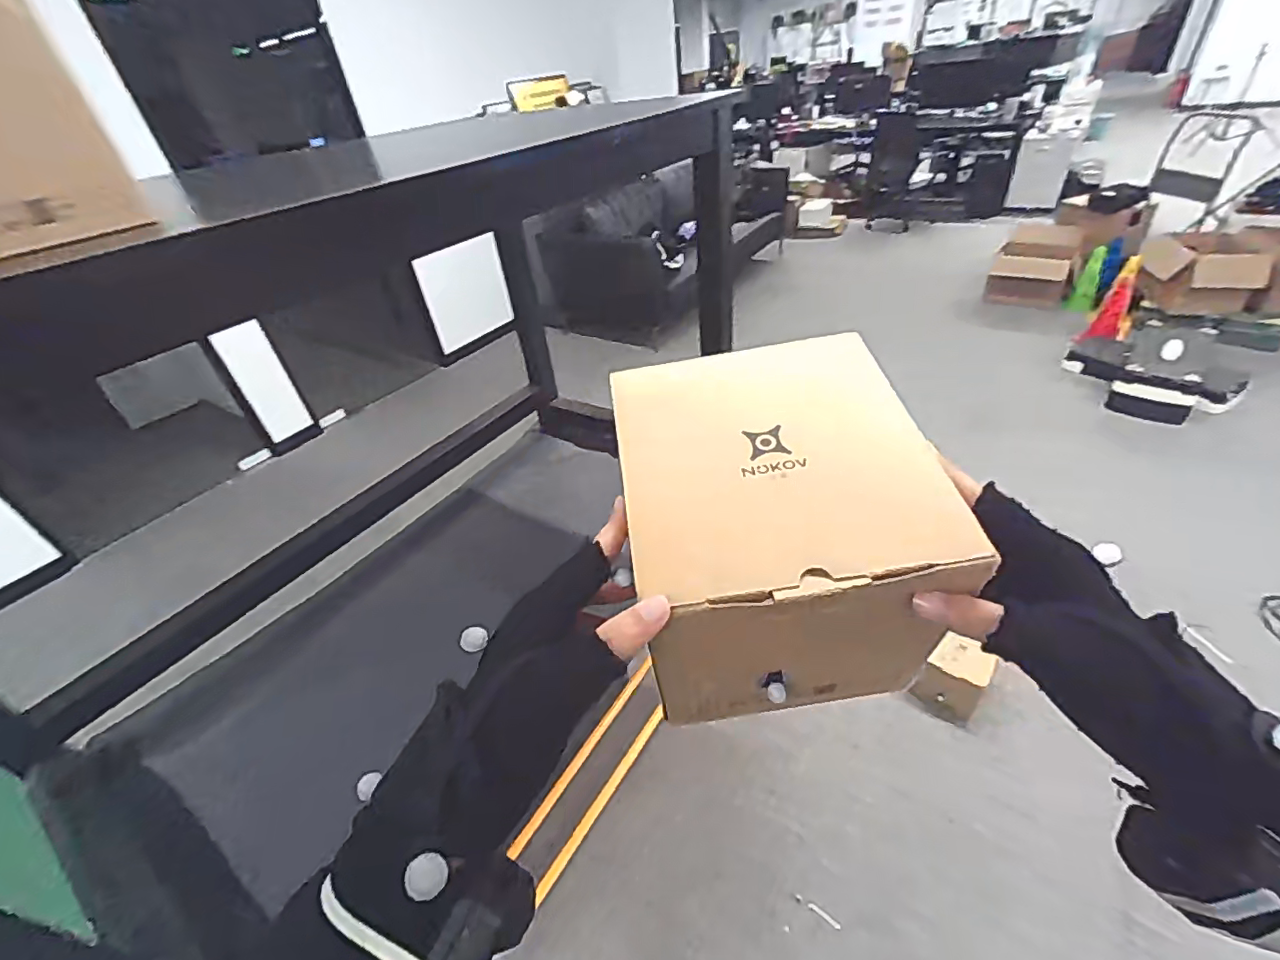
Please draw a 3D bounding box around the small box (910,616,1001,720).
[{"bbox_3d":[0.879,0.527,1.519,0.168,0.176,0.179,22,47,35],"label":"small box"}]
